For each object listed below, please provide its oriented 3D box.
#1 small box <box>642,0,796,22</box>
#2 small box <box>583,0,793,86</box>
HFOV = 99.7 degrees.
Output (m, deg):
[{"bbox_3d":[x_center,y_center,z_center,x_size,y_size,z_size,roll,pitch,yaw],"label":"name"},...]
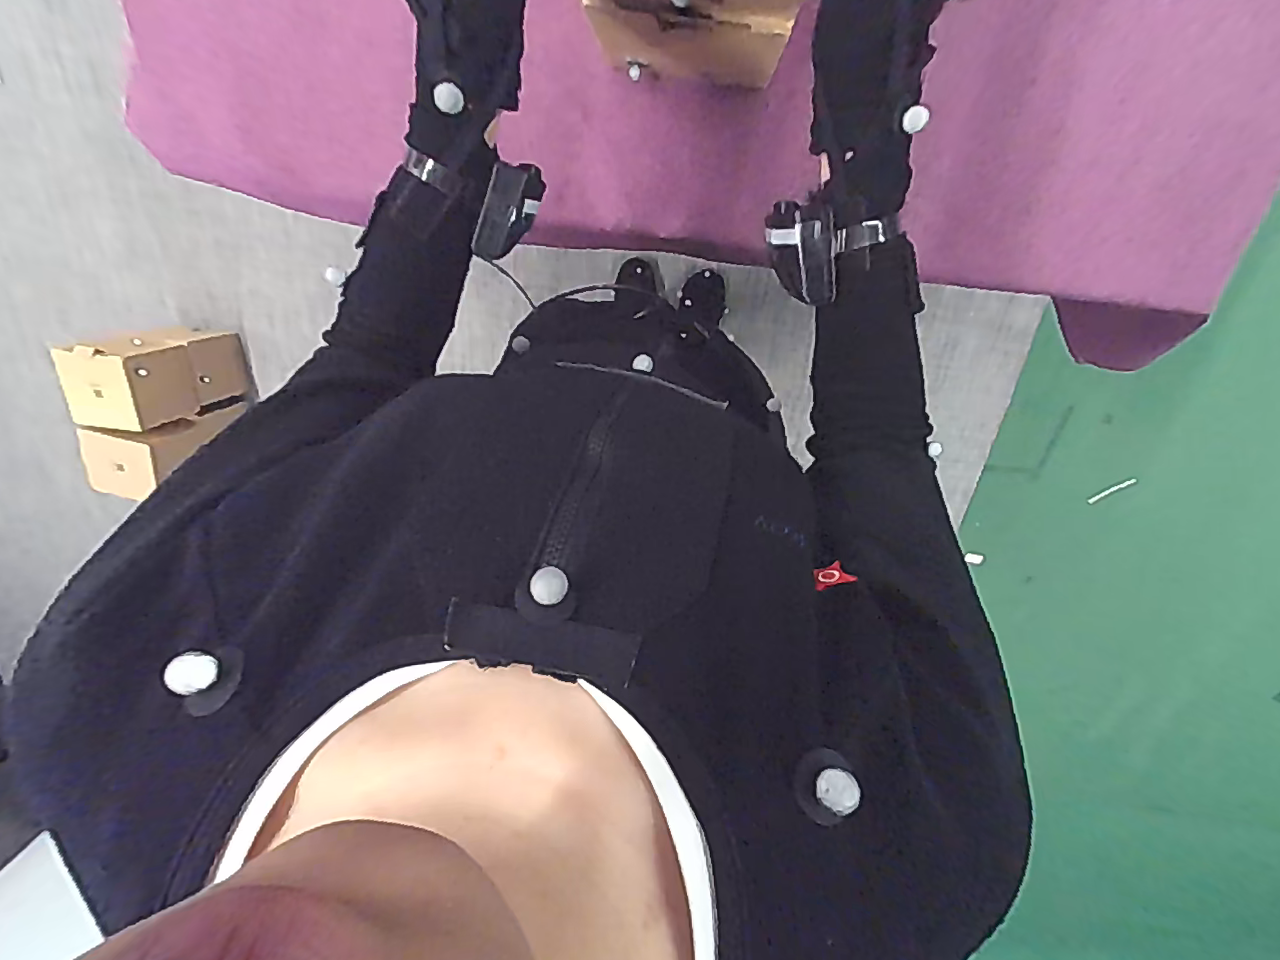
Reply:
[{"bbox_3d":[0.041,-0.407,0.303,0.168,0.176,0.179,10,114,1],"label":"small box"},{"bbox_3d":[0.056,-0.465,0.457,0.168,0.176,0.179,10,113,1],"label":"small box"}]
